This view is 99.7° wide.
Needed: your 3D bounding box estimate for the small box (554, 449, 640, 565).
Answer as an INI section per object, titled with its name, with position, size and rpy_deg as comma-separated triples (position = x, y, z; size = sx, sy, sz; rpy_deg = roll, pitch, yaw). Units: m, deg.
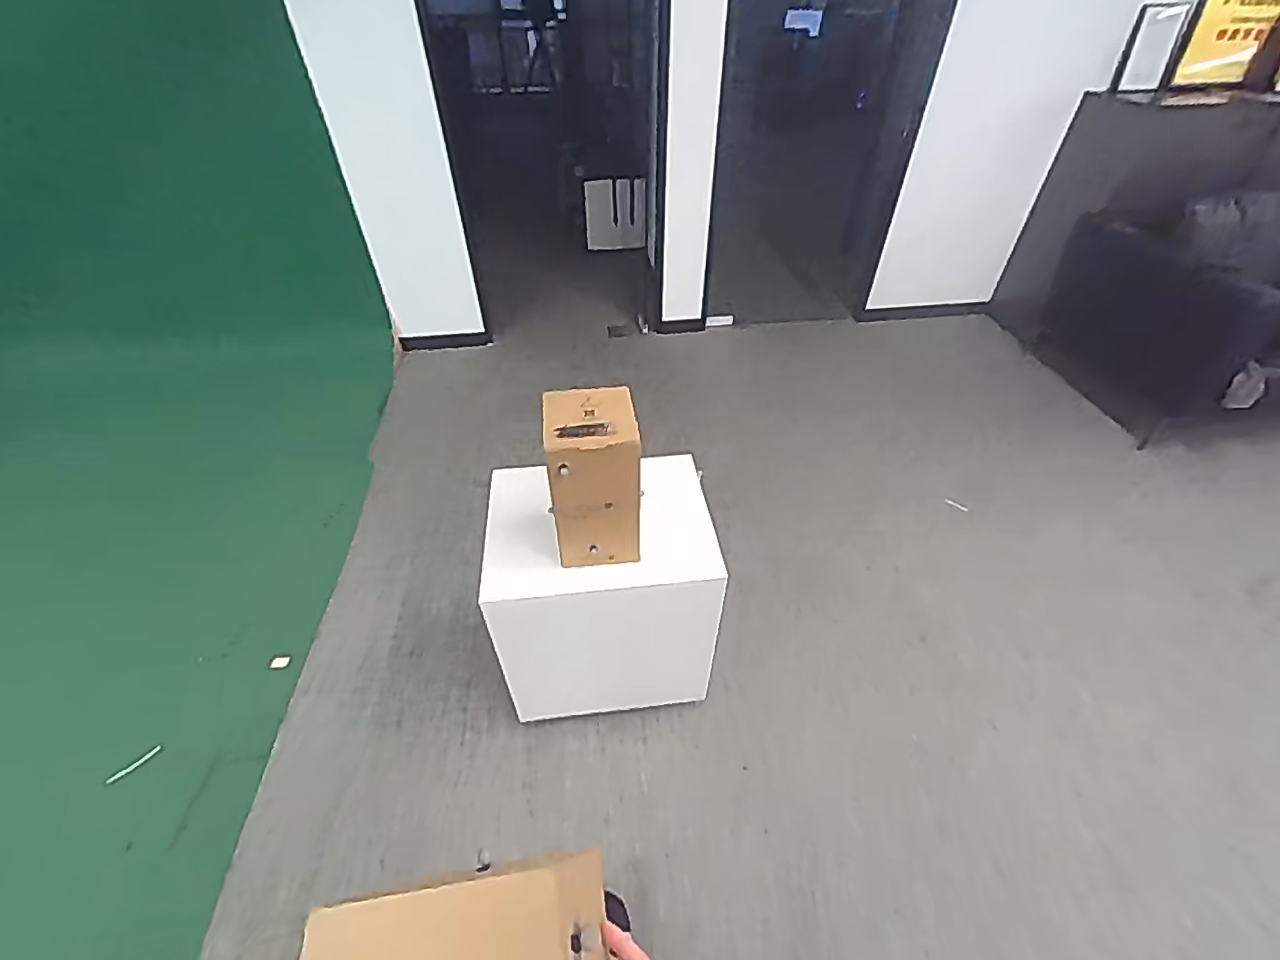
[small box]
position = -0.091, 0.056, 1.136
size = 0.168, 0.176, 0.179
rpy_deg = -4, 42, -5
